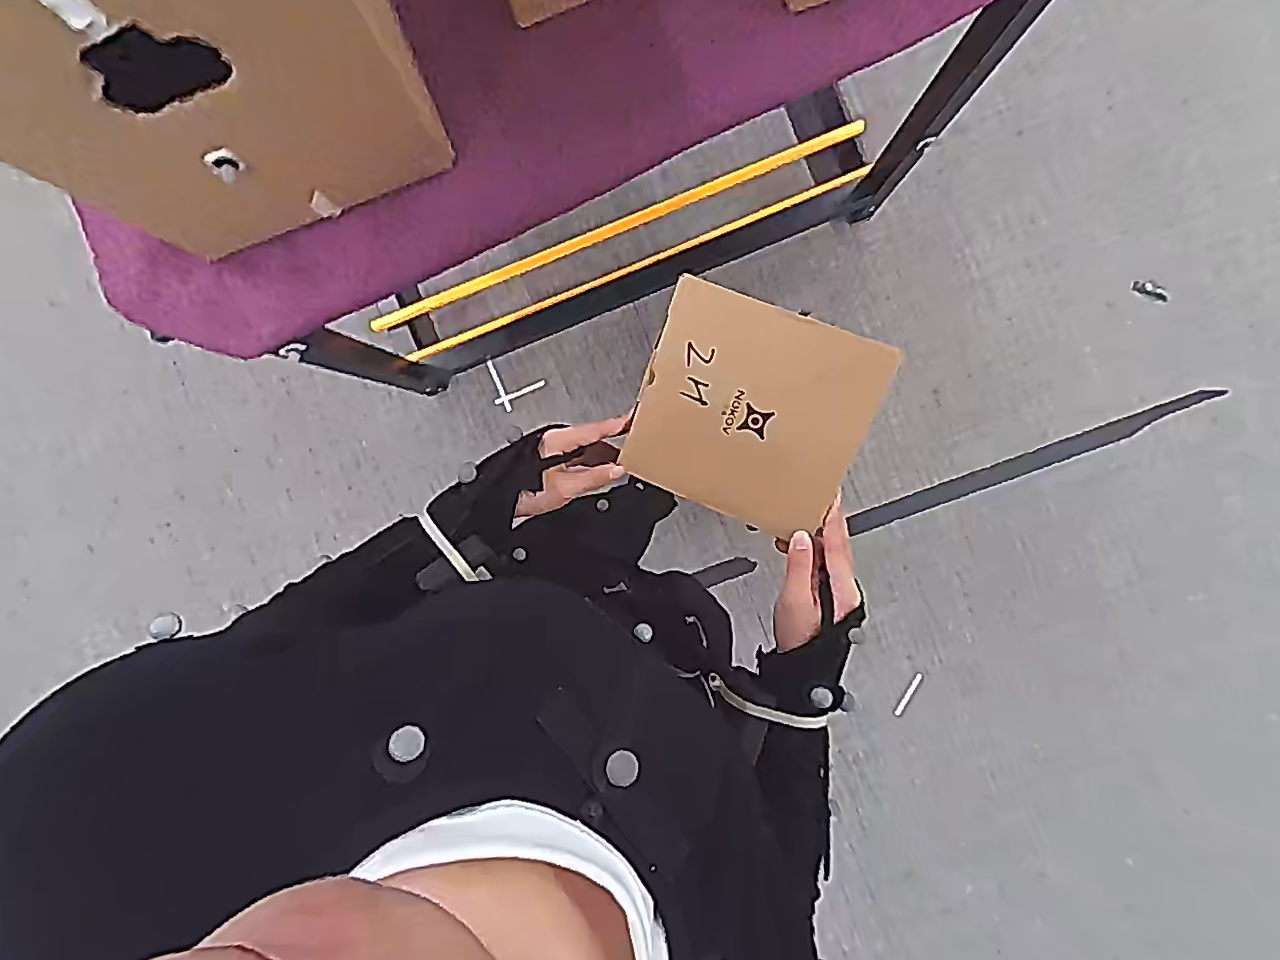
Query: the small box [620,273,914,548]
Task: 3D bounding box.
[{"bbox_3d":[0.109,-0.070,0.486,0.179,0.176,0.168,24,109,10],"label":"small box"}]
